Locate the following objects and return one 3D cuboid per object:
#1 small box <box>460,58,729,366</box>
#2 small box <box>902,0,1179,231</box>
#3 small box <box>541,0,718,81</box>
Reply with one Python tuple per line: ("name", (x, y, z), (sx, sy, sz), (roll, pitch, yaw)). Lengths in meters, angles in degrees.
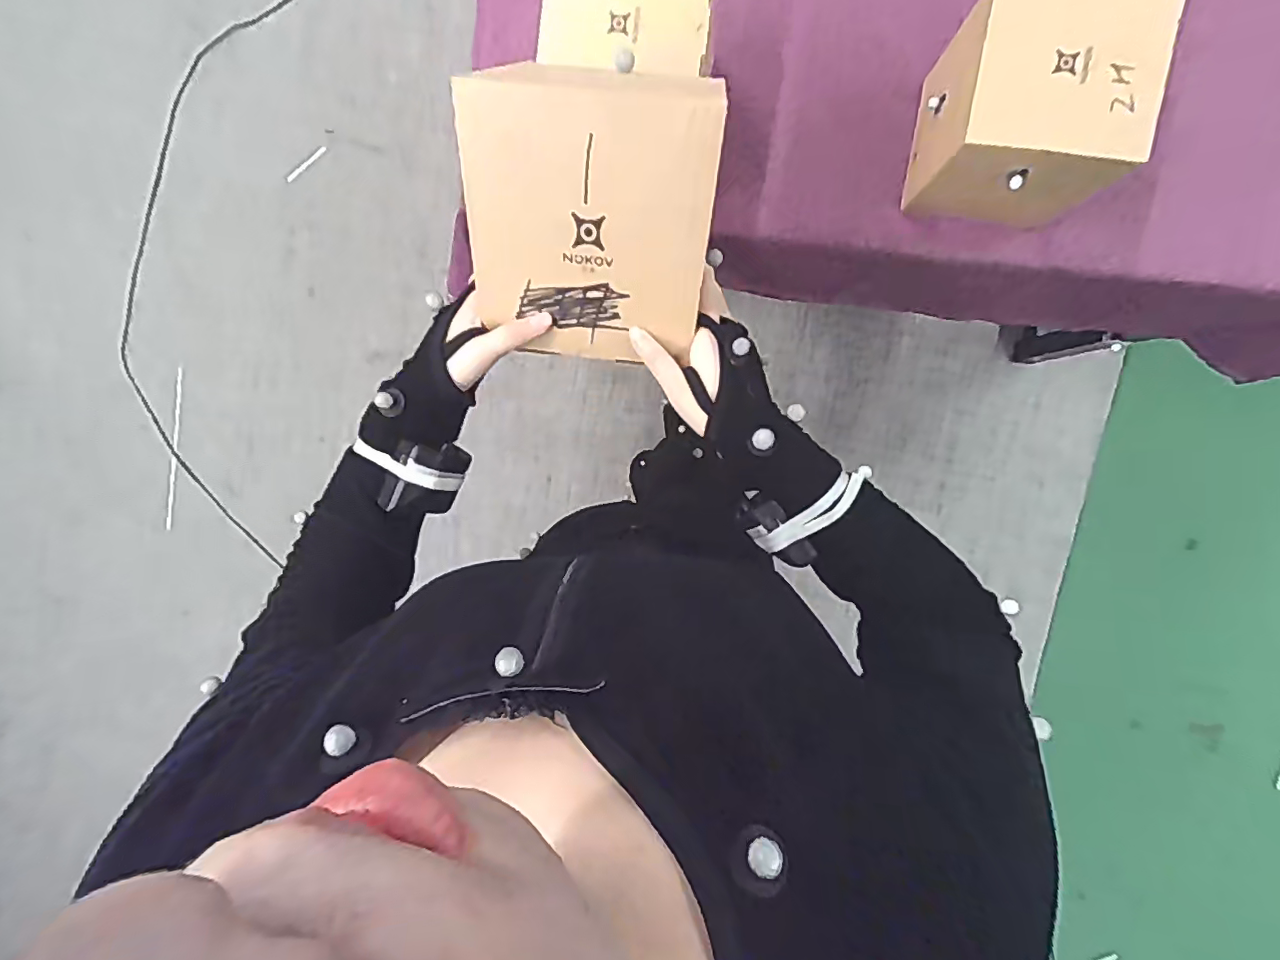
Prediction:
("small box", (-0.026, -0.217, 0.433), (0.168, 0.176, 0.179), (7, 130, 1))
("small box", (0.425, -0.401, 0.610), (0.179, 0.176, 0.168), (10, 96, 4))
("small box", (-0.008, -0.471, 0.639), (0.179, 0.176, 0.168), (8, 95, 3))
